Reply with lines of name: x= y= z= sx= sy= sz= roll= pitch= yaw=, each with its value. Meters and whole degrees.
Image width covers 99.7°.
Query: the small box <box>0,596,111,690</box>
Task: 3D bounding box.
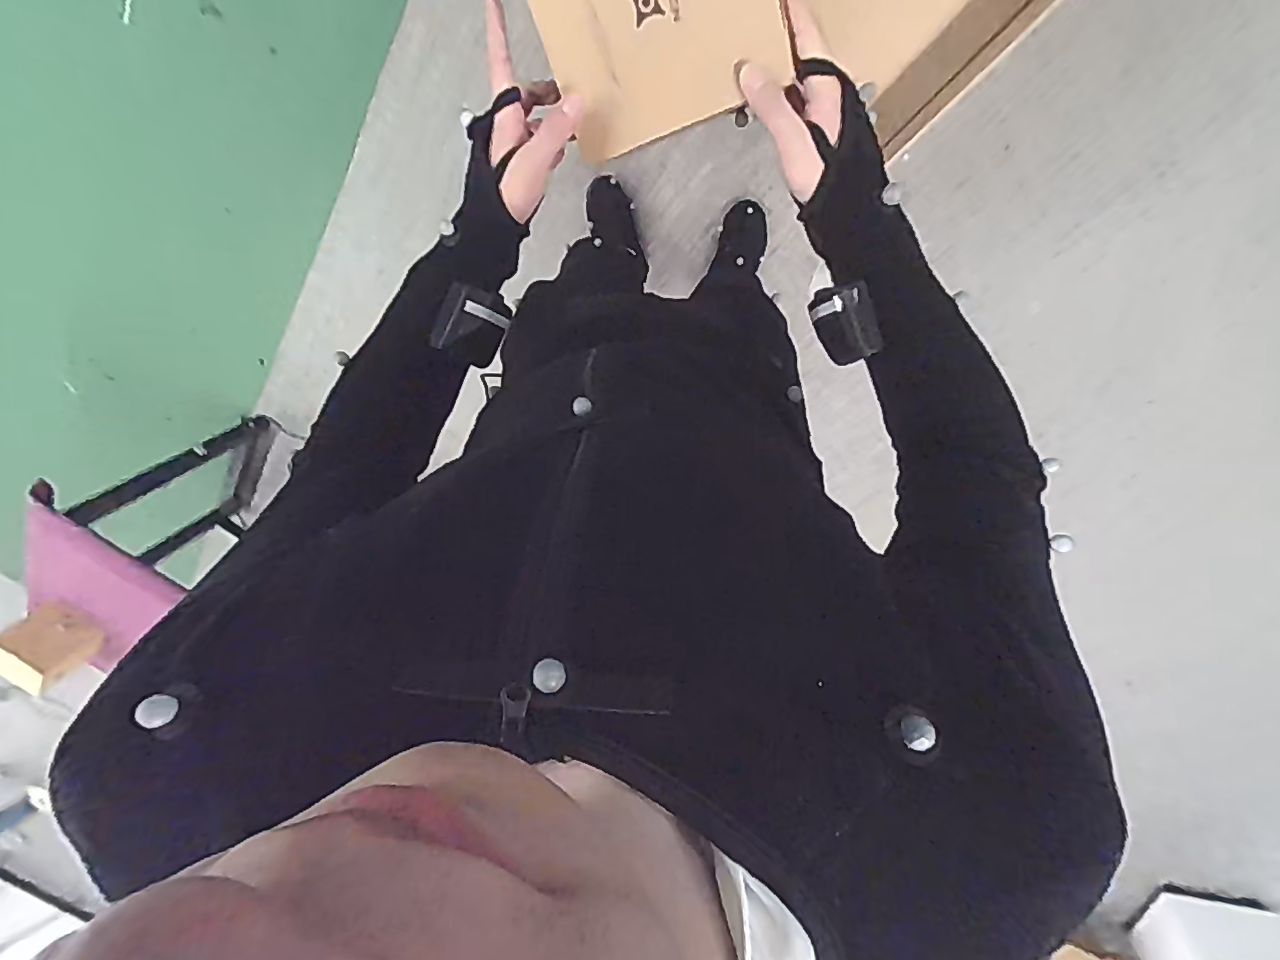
small box: x=-1.727 y=0.477 z=1.594 sx=0.168 sy=0.176 sz=0.179 roll=43 pitch=121 yaw=-13

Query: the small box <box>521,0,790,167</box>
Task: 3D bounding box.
small box: x=0.016 y=-0.385 z=0.448 sx=0.179 sy=0.176 sz=0.168 roll=-12 pitch=120 yaw=18
